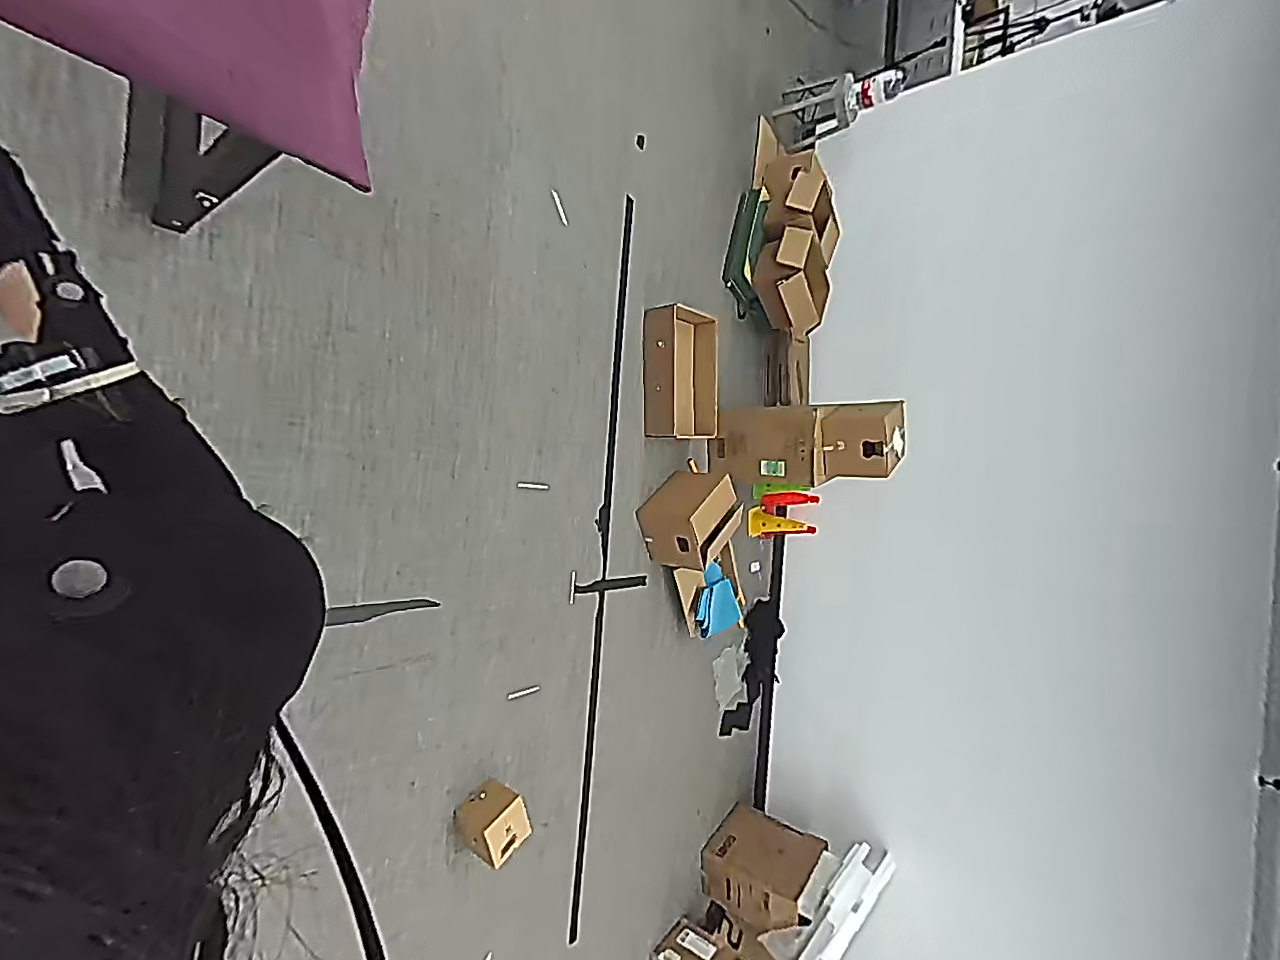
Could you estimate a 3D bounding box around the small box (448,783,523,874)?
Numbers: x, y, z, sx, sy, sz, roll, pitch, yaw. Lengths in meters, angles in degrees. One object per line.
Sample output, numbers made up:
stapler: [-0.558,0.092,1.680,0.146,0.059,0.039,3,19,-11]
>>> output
small box: [-0.538,1.202,1.881,0.168,0.176,0.179,-29,115,-49]
